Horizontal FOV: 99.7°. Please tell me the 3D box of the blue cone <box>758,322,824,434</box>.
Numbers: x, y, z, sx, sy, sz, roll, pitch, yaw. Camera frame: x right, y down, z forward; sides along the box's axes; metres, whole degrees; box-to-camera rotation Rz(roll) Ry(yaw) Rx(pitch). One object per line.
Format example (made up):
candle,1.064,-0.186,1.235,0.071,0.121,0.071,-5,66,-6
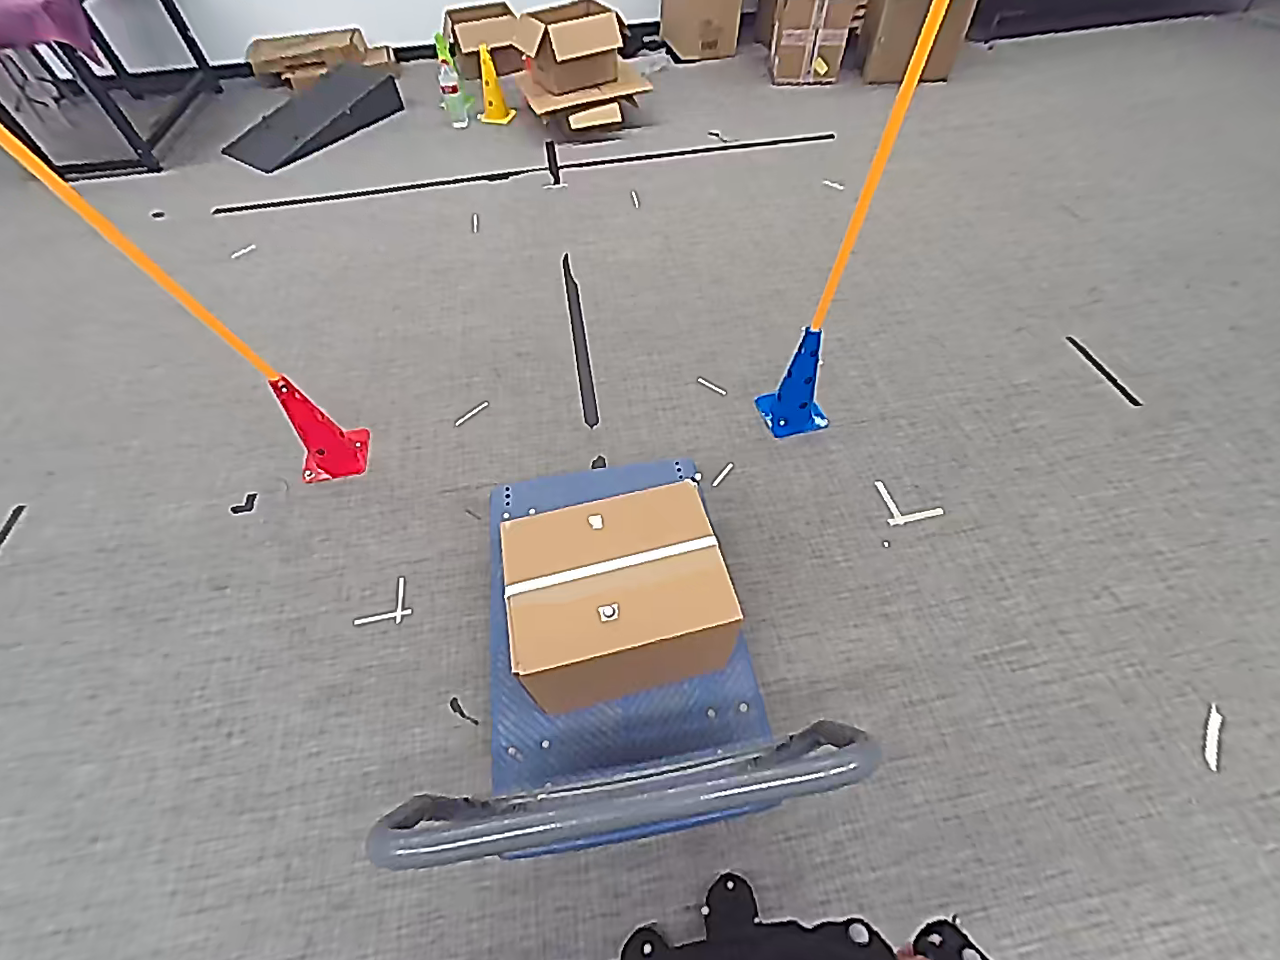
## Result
blue cone,0.517,-0.337,1.734,0.193,0.380,0.192,-12,54,-7
